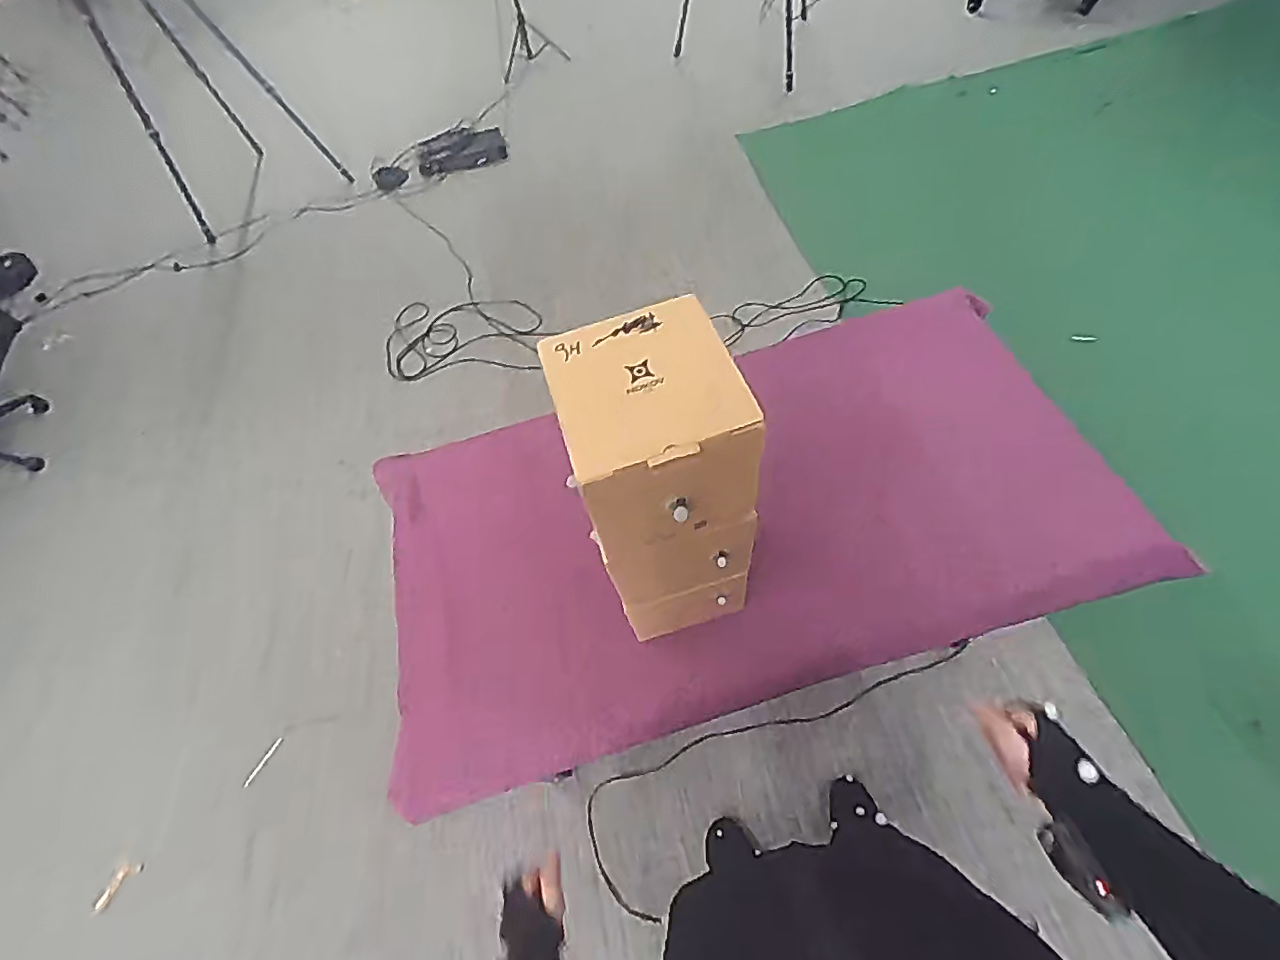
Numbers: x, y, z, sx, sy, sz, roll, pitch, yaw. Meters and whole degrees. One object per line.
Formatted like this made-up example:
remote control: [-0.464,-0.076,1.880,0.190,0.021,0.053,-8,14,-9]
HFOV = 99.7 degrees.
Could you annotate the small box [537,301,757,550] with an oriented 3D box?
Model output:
small box: [0.009,-0.044,0.555,0.168,0.176,0.179,-17,59,-3]

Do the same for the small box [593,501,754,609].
small box: [0.031,0.045,0.690,0.179,0.176,0.168,-17,58,-2]
